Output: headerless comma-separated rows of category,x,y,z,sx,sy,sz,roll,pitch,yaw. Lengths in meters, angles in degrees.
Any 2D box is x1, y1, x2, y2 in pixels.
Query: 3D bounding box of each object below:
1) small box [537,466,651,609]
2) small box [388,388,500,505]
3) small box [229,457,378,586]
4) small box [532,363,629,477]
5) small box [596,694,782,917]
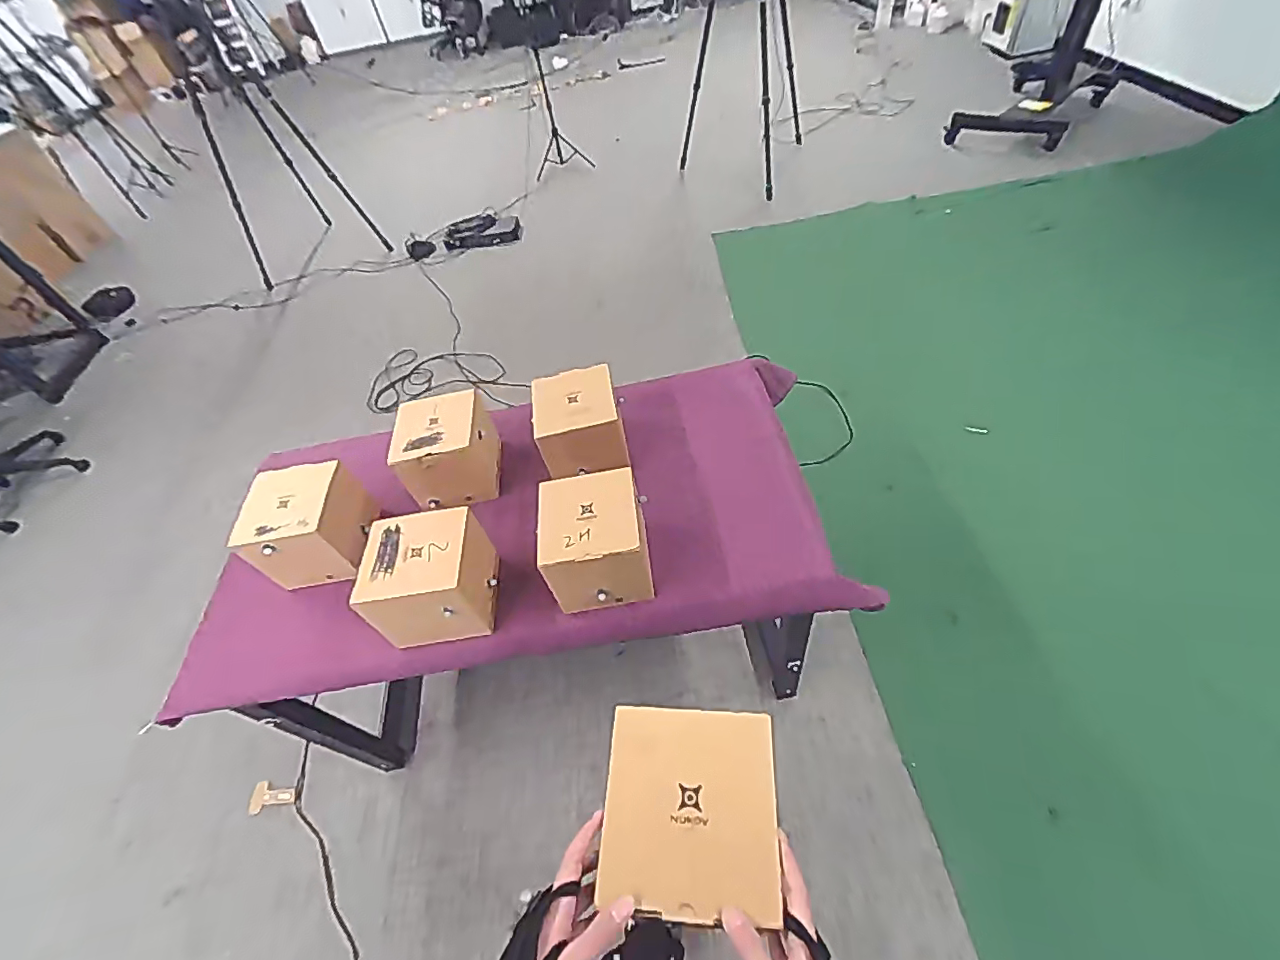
small box,-0.077,0.103,0.952,0.168,0.176,0.179,-10,50,3
small box,-0.404,-0.064,1.149,0.168,0.176,0.179,-11,50,1
small box,-0.648,0.084,1.070,0.168,0.176,0.179,-11,50,3
small box,-0.124,-0.114,1.141,0.168,0.176,0.179,-12,51,1
small box,0.055,0.351,0.584,0.168,0.176,0.179,0,51,7
